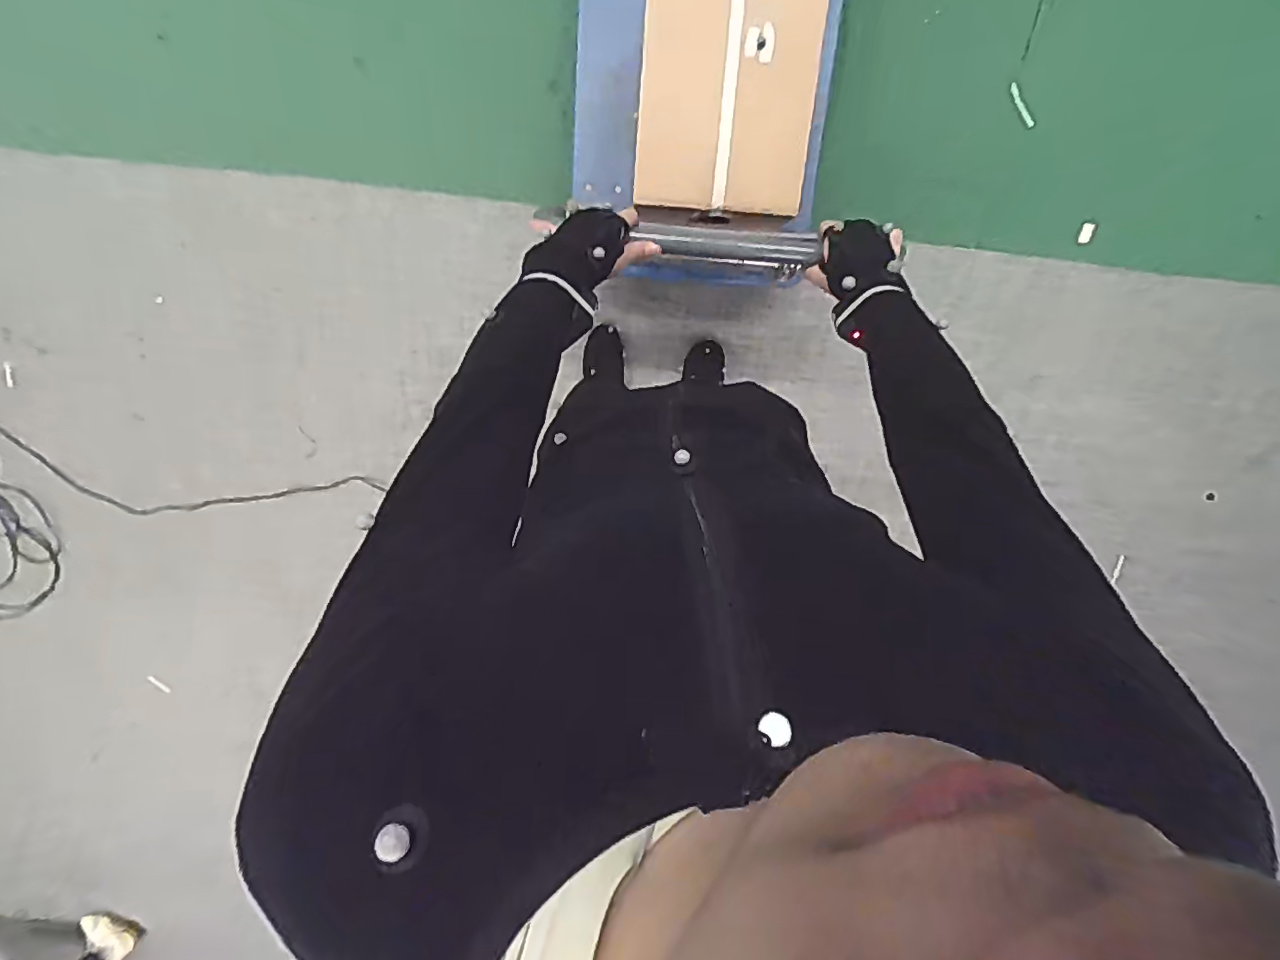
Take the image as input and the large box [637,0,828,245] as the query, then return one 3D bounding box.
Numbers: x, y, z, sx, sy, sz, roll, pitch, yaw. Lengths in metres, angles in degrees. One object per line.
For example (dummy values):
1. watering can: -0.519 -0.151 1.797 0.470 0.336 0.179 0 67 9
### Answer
1. large box: 0.162 -0.721 1.097 0.320 0.320 0.408 4 104 -1
